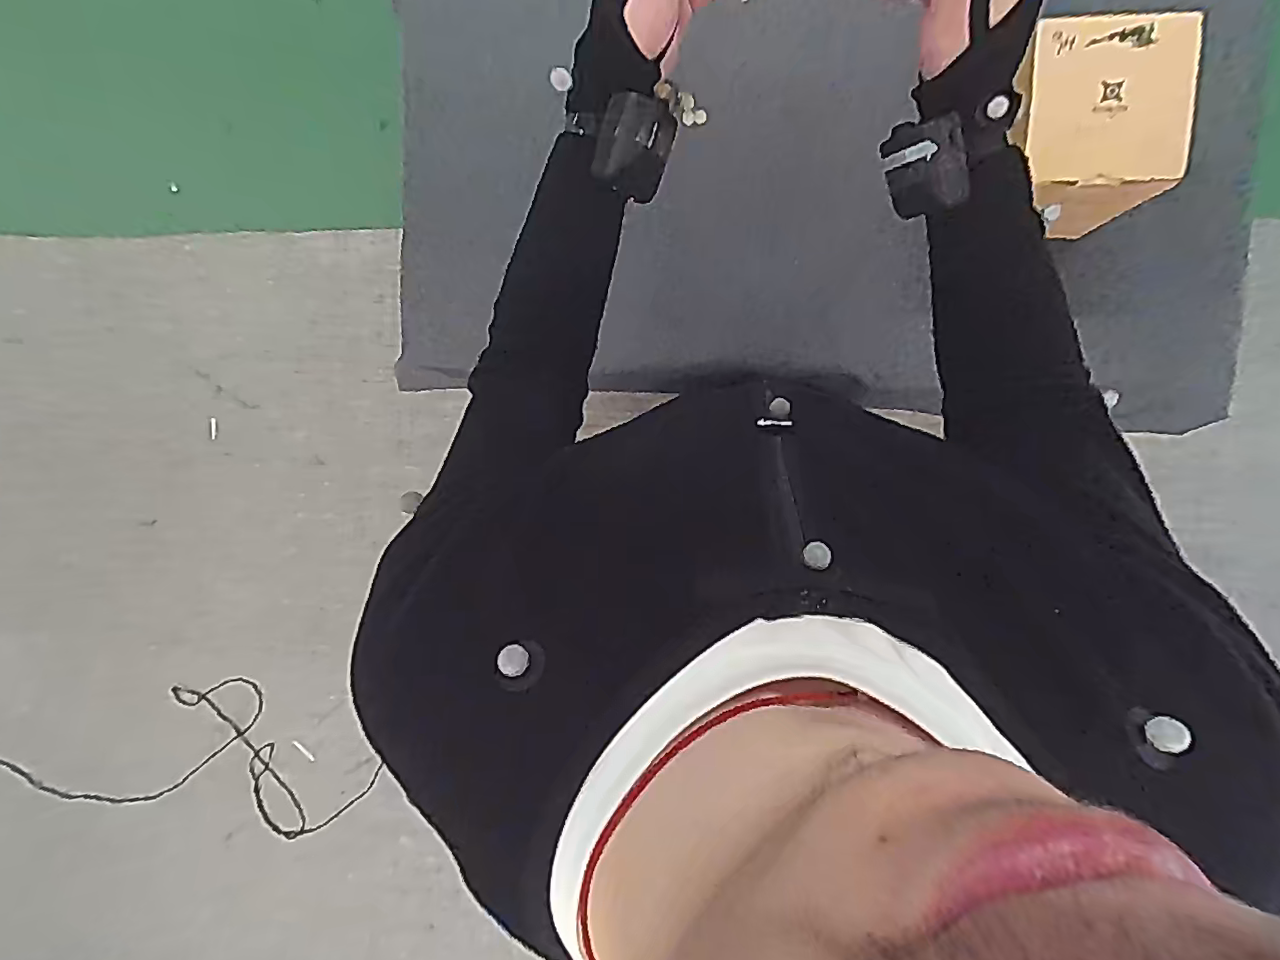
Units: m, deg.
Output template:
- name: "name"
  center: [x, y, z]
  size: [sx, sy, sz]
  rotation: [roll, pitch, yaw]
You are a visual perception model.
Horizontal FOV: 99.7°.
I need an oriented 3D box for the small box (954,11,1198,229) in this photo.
- name: "small box"
  center: [0.517, -0.427, 0.672]
  size: [0.168, 0.176, 0.179]
  rotation: [3, 97, 6]
